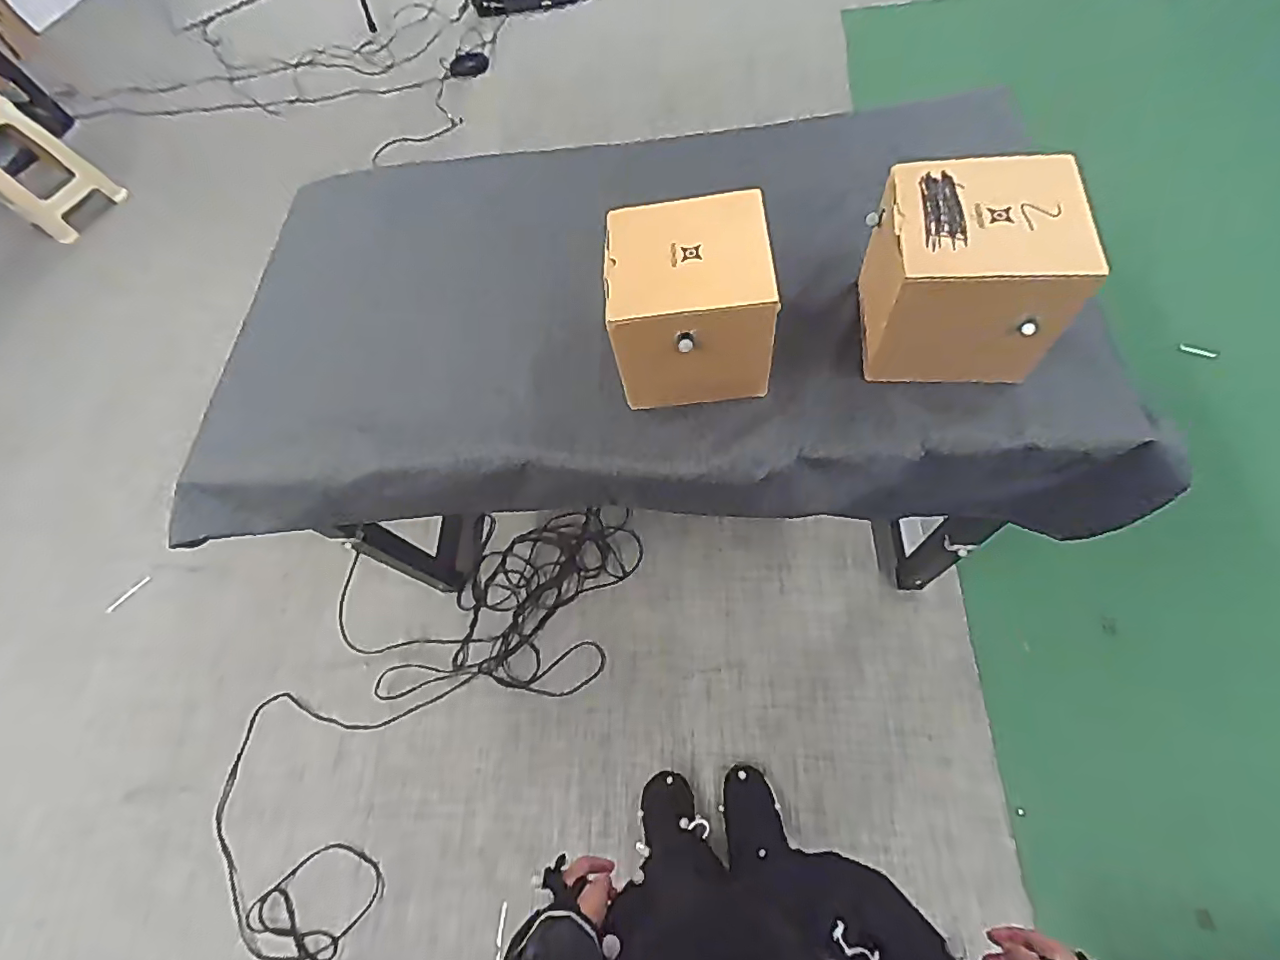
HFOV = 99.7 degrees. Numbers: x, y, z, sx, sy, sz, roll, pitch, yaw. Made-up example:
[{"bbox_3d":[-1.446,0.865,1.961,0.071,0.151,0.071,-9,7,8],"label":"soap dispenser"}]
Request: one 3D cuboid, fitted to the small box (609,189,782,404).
[{"bbox_3d":[0.065,-0.207,0.645,0.179,0.176,0.168,-5,64,8],"label":"small box"}]
